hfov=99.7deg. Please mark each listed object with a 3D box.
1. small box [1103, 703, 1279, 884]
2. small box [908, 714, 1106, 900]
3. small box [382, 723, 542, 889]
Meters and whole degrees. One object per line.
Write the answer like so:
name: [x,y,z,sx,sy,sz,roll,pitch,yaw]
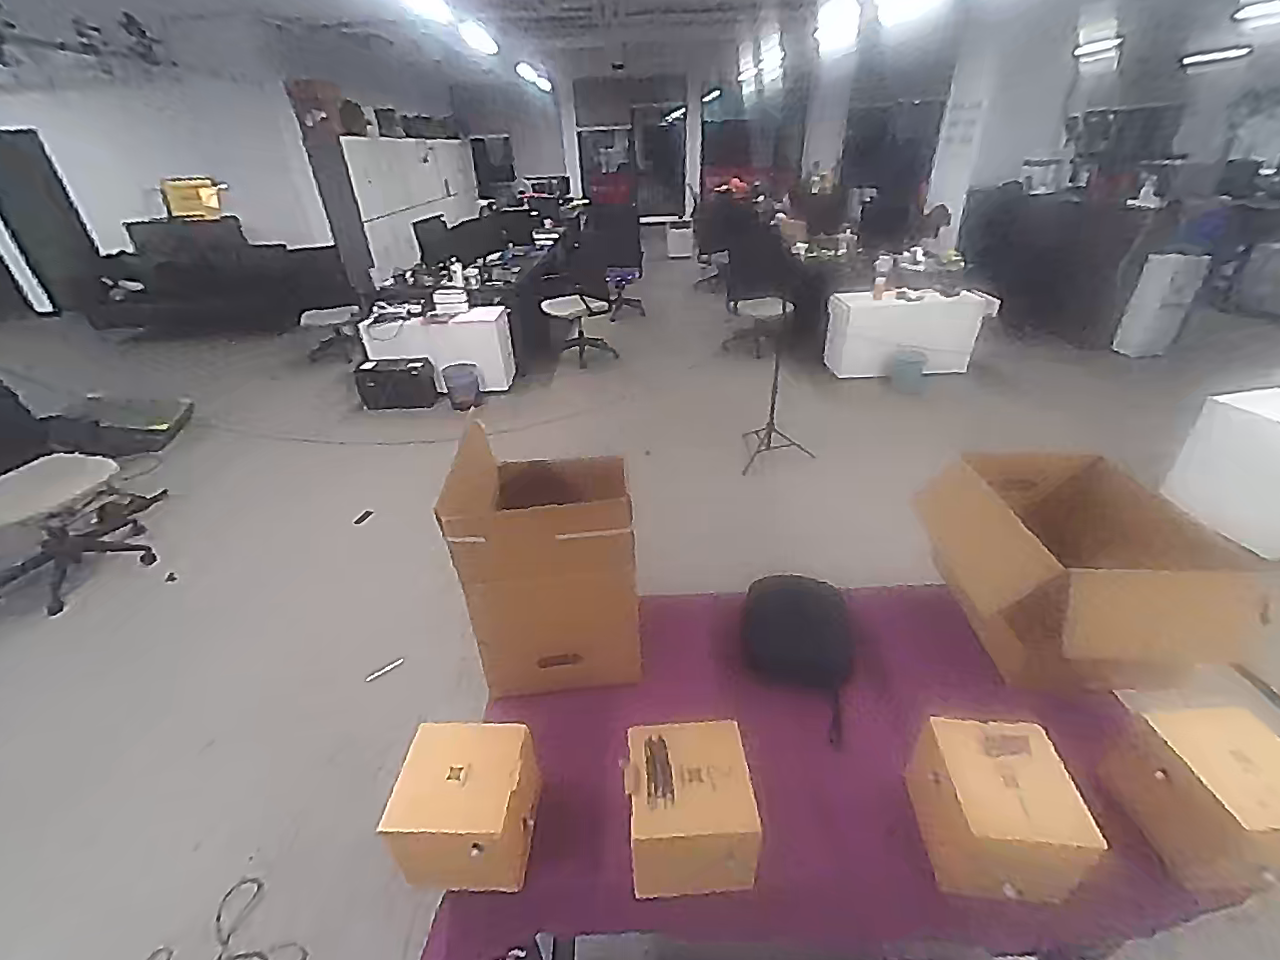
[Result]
small box: [0.856,0.462,0.806,0.168,0.176,0.179,-4,32,1]
small box: [0.523,0.481,0.806,0.168,0.176,0.179,1,33,6]
small box: [-0.260,0.502,0.837,0.179,0.176,0.168,-1,32,2]
